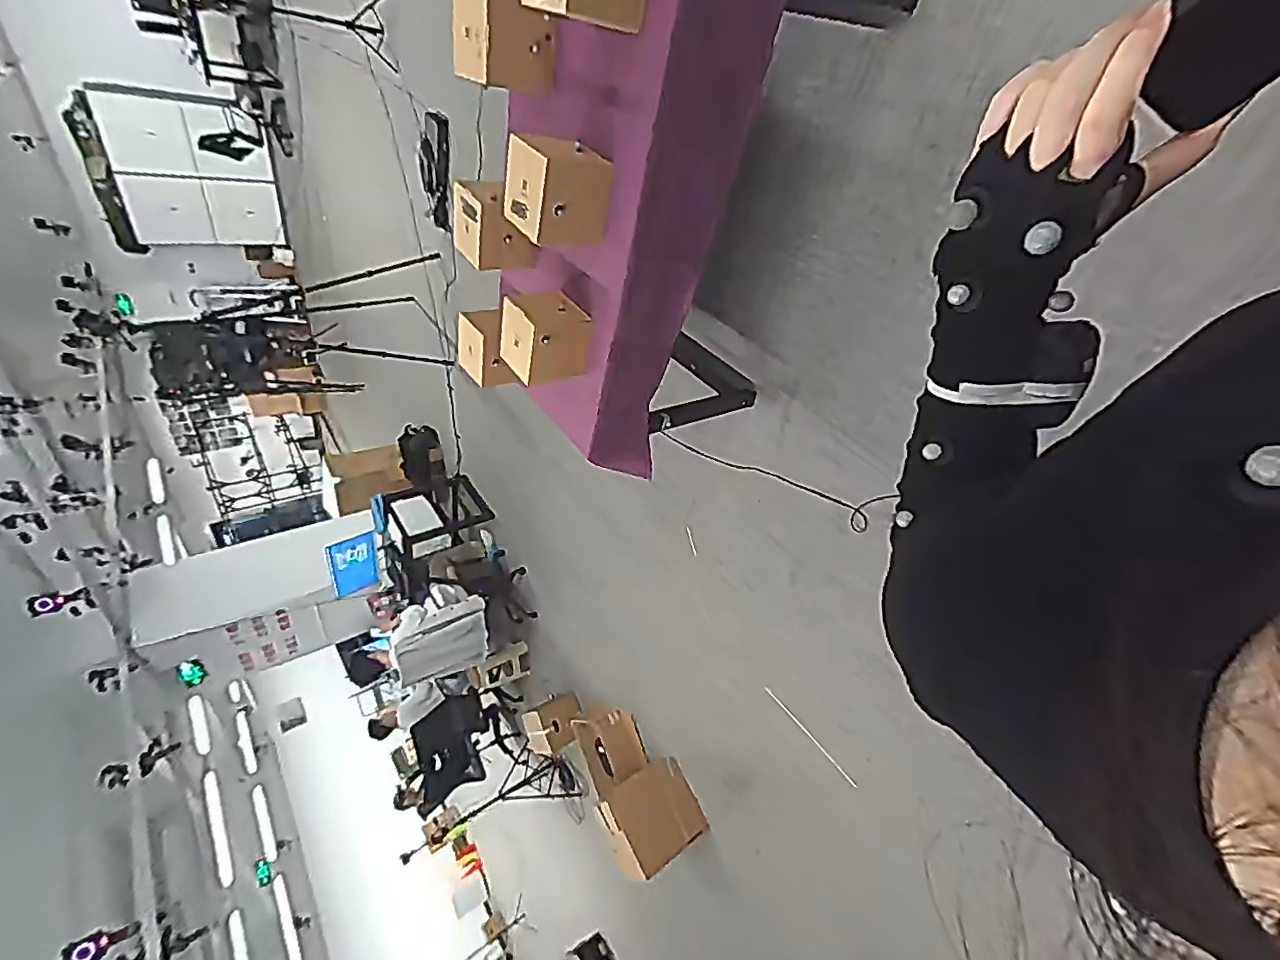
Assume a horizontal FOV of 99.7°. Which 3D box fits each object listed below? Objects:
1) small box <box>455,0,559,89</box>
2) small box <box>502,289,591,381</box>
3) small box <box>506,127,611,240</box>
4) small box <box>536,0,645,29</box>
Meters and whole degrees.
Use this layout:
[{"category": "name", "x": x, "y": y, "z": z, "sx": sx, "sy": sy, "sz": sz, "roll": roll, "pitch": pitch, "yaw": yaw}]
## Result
[{"category": "small box", "x": -0.304, "y": -1.004, "z": 1.218, "sx": 0.179, "sy": 0.176, "sz": 0.168, "roll": 44, "pitch": 137, "yaw": 33}, {"category": "small box", "x": -0.249, "y": -0.386, "z": 1.428, "sx": 0.168, "sy": 0.176, "sz": 0.179, "roll": 47, "pitch": 137, "yaw": 31}, {"category": "small box", "x": -0.184, "y": -0.659, "z": 1.213, "sx": 0.168, "sy": 0.176, "sz": 0.179, "roll": 48, "pitch": 138, "yaw": 30}, {"category": "small box", "x": -0.090, "y": -0.937, "z": 0.955, "sx": 0.168, "sy": 0.176, "sz": 0.179, "roll": 46, "pitch": 138, "yaw": 33}]
